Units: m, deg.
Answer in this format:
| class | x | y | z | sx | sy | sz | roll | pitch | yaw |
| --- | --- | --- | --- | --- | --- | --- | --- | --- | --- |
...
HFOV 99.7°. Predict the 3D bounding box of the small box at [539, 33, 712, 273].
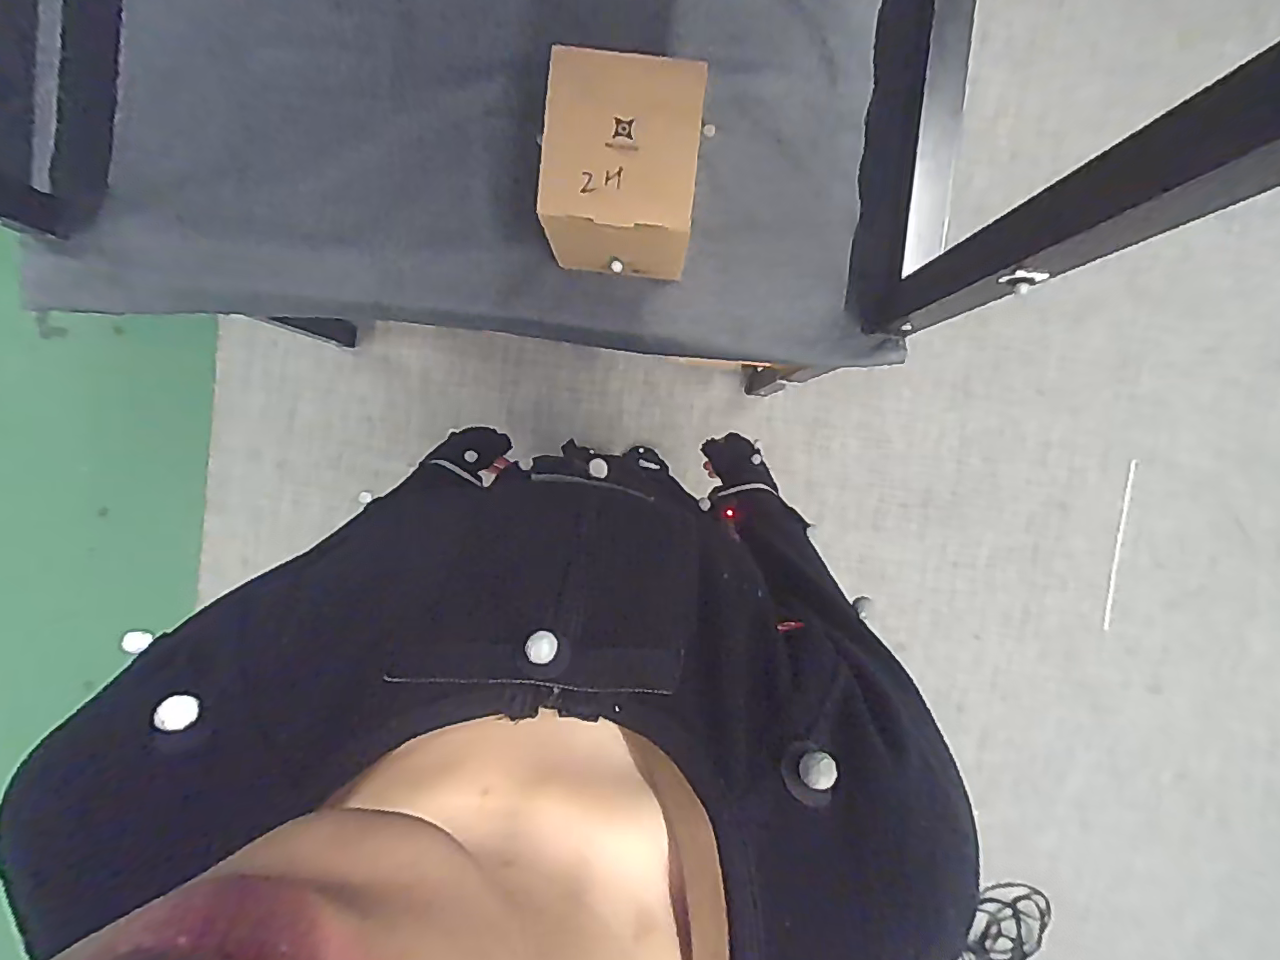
| class | x | y | z | sx | sy | sz | roll | pitch | yaw |
| --- | --- | --- | --- | --- | --- | --- | --- | --- | --- |
| small box | -0.016 | -0.370 | 0.642 | 0.168 | 0.176 | 0.179 | 6 | 92 | 0 |
